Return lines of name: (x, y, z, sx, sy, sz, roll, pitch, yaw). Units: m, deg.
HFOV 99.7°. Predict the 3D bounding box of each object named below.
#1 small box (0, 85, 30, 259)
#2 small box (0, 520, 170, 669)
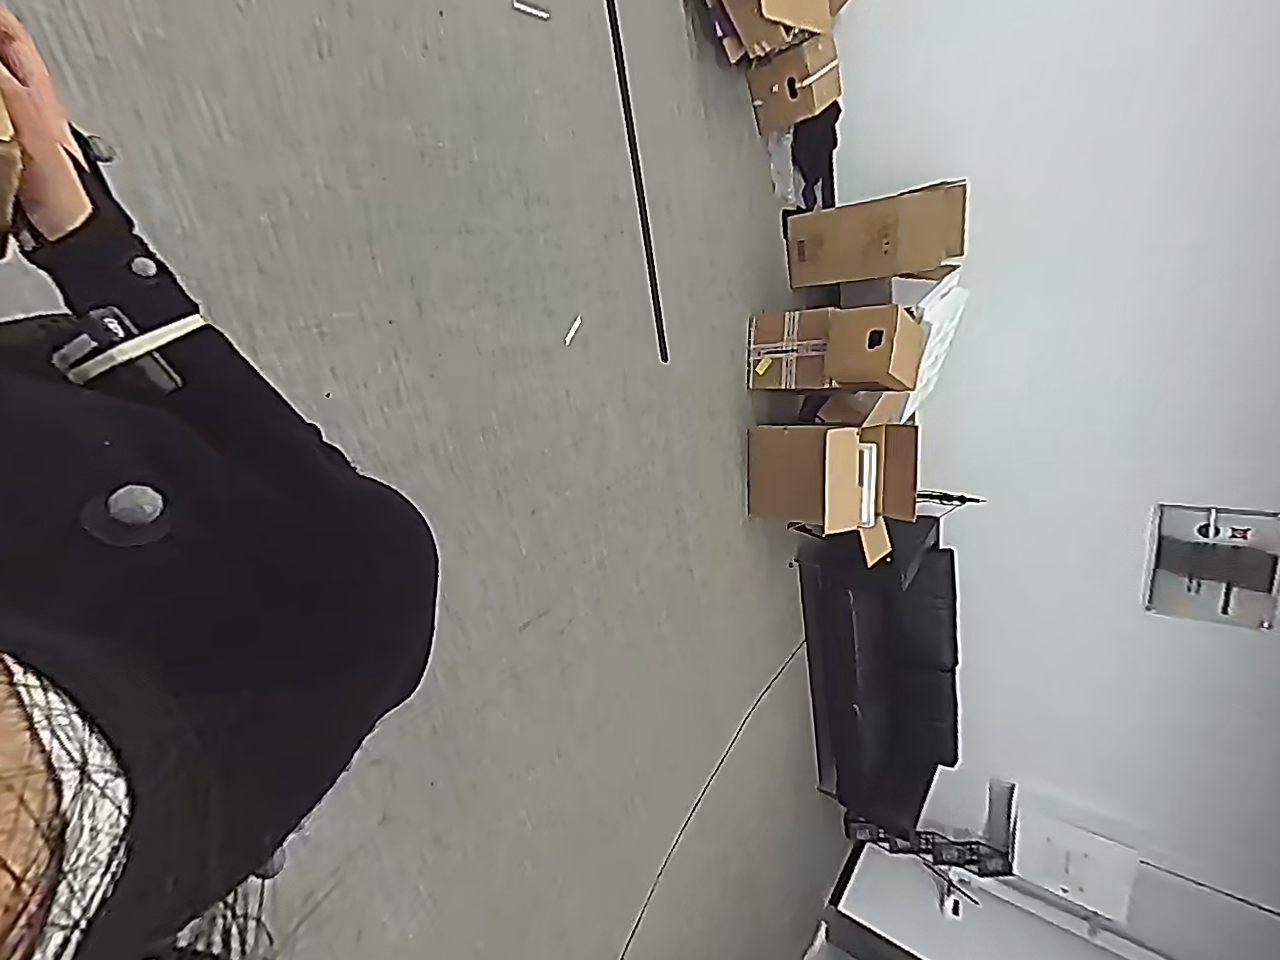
small box: (-0.415, -0.203, 0.232, 0.168, 0.176, 0.179, -26, 108, -49)
small box: (-0.945, 0.178, 0.903, 0.179, 0.176, 0.168, -32, 116, -44)
